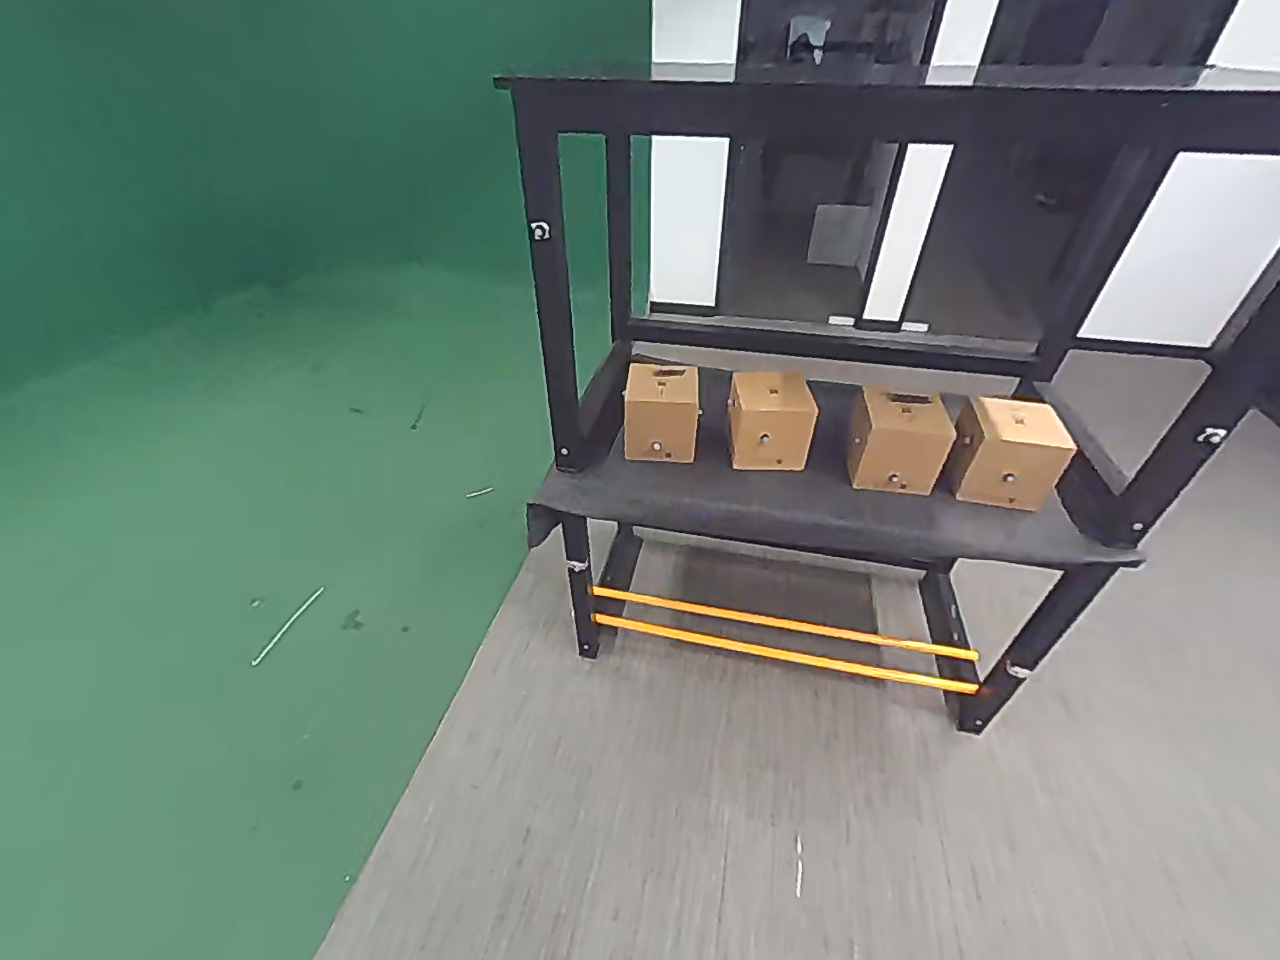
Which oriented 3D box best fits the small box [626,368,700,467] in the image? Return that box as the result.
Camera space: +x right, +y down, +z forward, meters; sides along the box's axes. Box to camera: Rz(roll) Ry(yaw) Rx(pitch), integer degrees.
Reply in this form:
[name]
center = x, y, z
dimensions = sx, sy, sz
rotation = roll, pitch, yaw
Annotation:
[small box]
center = 0.055, -0.151, 1.298
dimensions = 0.168, 0.176, 0.179
rotation = 2, 39, 3
